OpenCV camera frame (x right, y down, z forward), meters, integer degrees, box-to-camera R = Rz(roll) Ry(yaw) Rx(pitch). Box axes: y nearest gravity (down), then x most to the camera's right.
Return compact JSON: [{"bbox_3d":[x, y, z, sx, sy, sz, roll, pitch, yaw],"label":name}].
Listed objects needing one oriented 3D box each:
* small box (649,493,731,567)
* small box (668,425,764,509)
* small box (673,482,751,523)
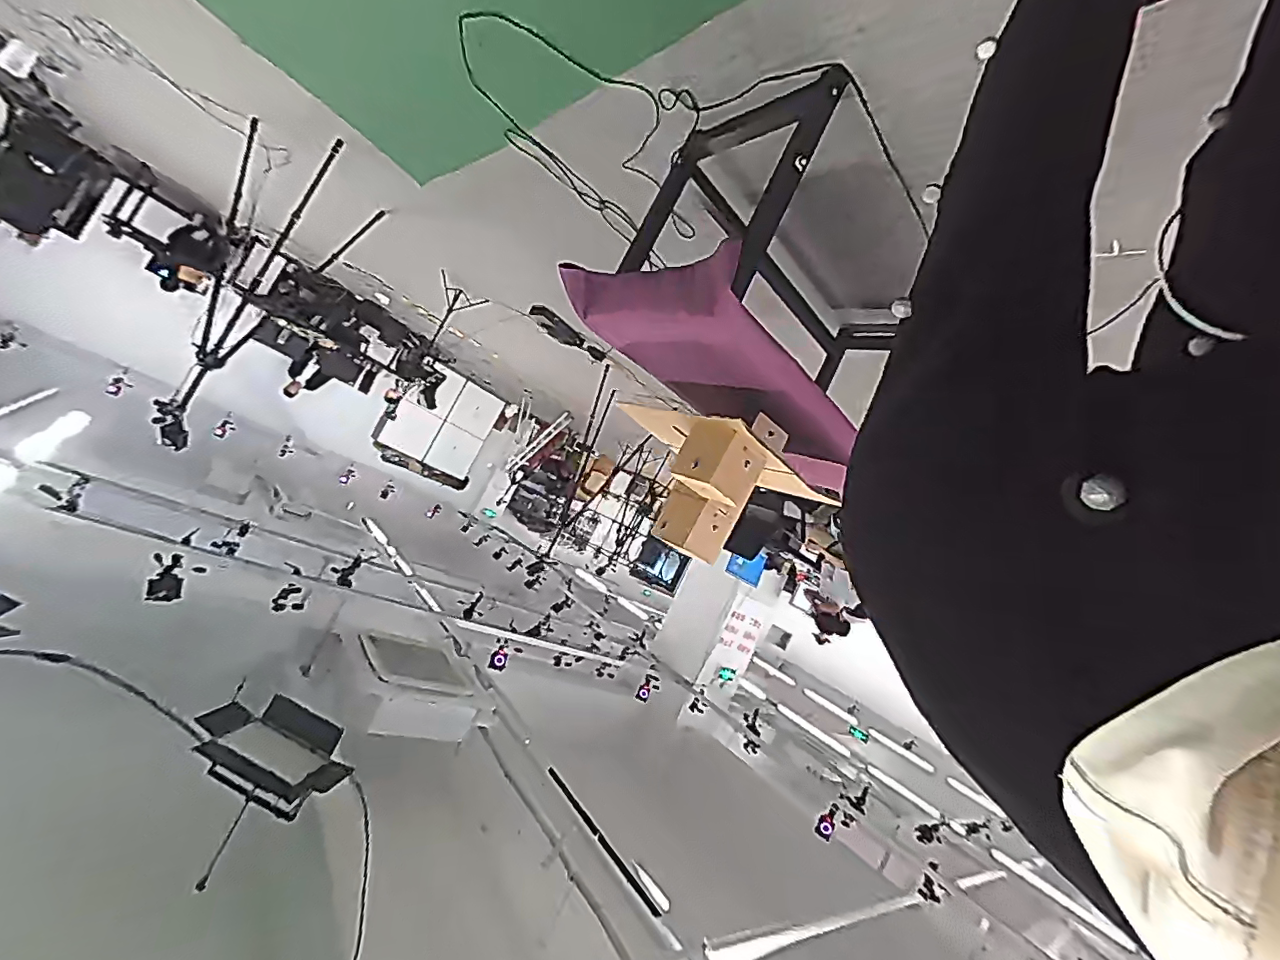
[{"bbox_3d":[0.169,0.161,1.794,0.168,0.176,0.179,34,170,-37],"label":"small box"},{"bbox_3d":[0.218,-0.041,1.541,0.168,0.176,0.179,34,170,-37],"label":"small box"},{"bbox_3d":[0.249,0.018,1.812,0.168,0.176,0.179,35,171,-36],"label":"small box"}]
